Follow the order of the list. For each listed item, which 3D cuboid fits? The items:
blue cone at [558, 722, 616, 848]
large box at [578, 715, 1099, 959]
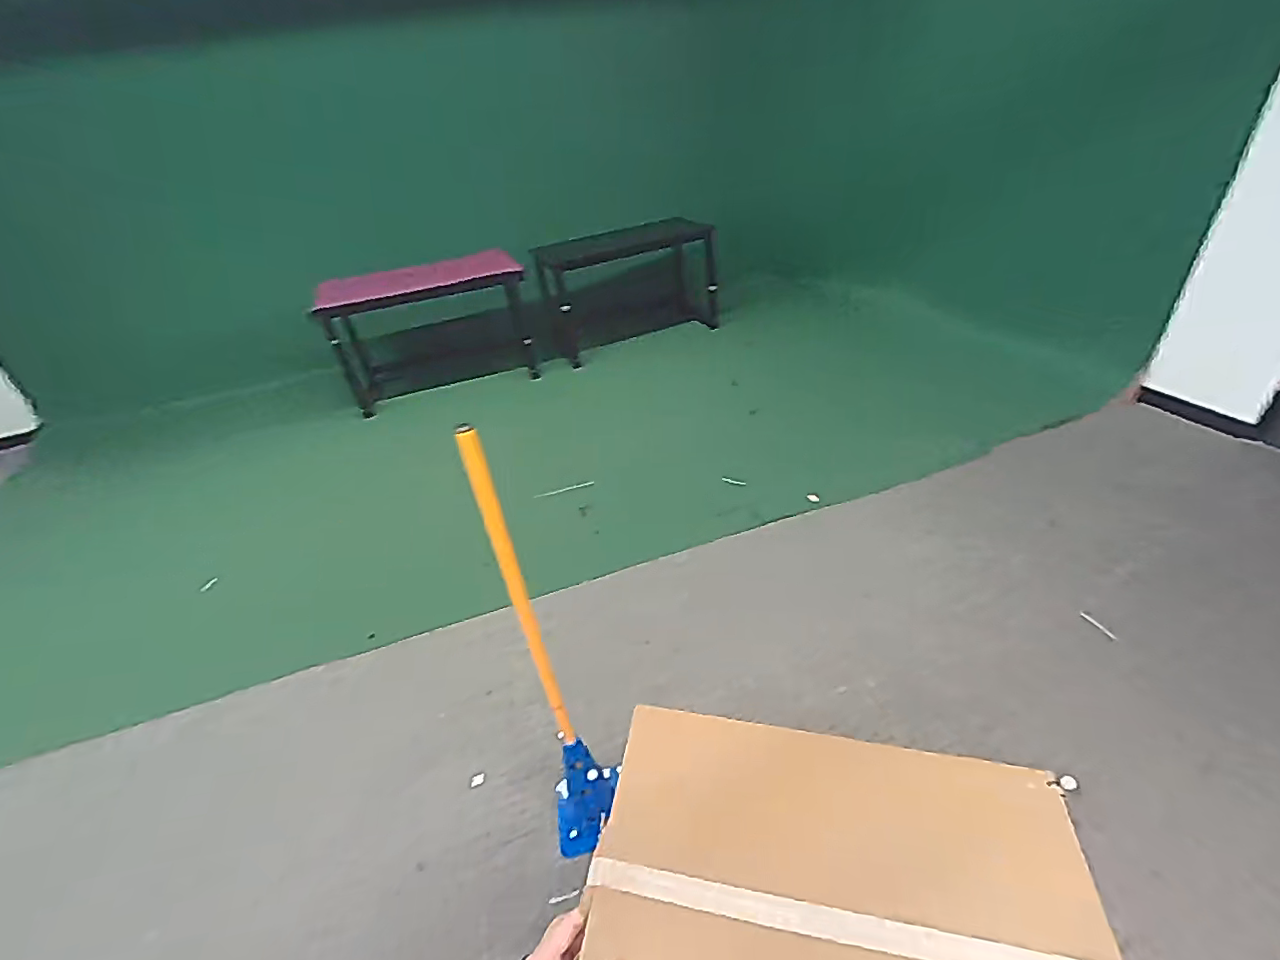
[{"bbox_3d":[-0.143,0.743,1.364,0.193,0.380,0.192,-10,34,-3],"label":"blue cone"},{"bbox_3d":[0.159,0.478,0.528,0.408,0.320,0.320,5,39,10],"label":"large box"}]
